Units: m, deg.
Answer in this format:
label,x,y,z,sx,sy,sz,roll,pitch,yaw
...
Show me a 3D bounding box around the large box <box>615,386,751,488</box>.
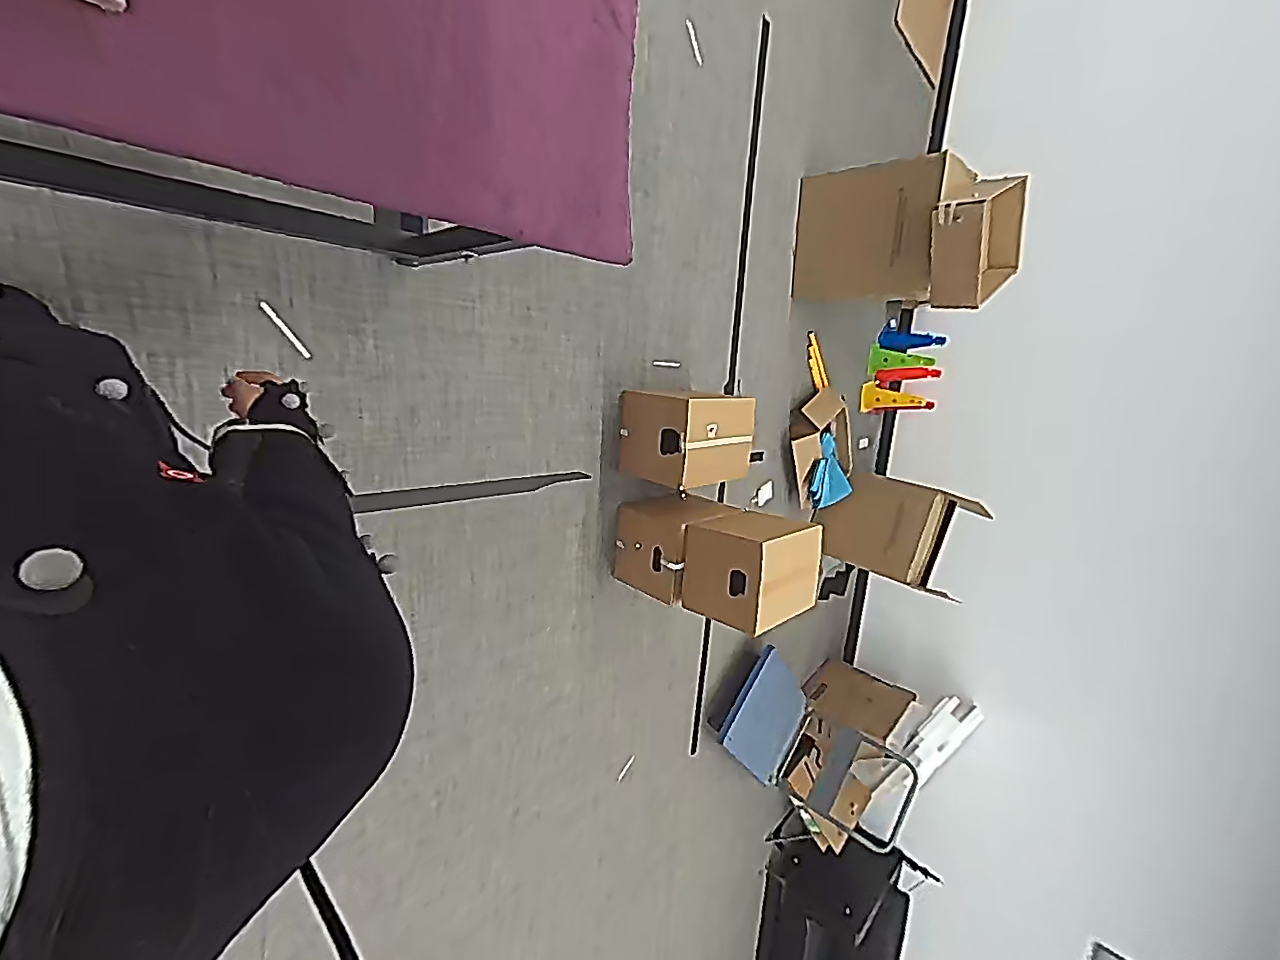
label,x,y,z,sx,sy,sz,roll,pitch,yaw
large box,0.159,-0.178,2.014,0.408,0.320,0.320,-10,109,-44
